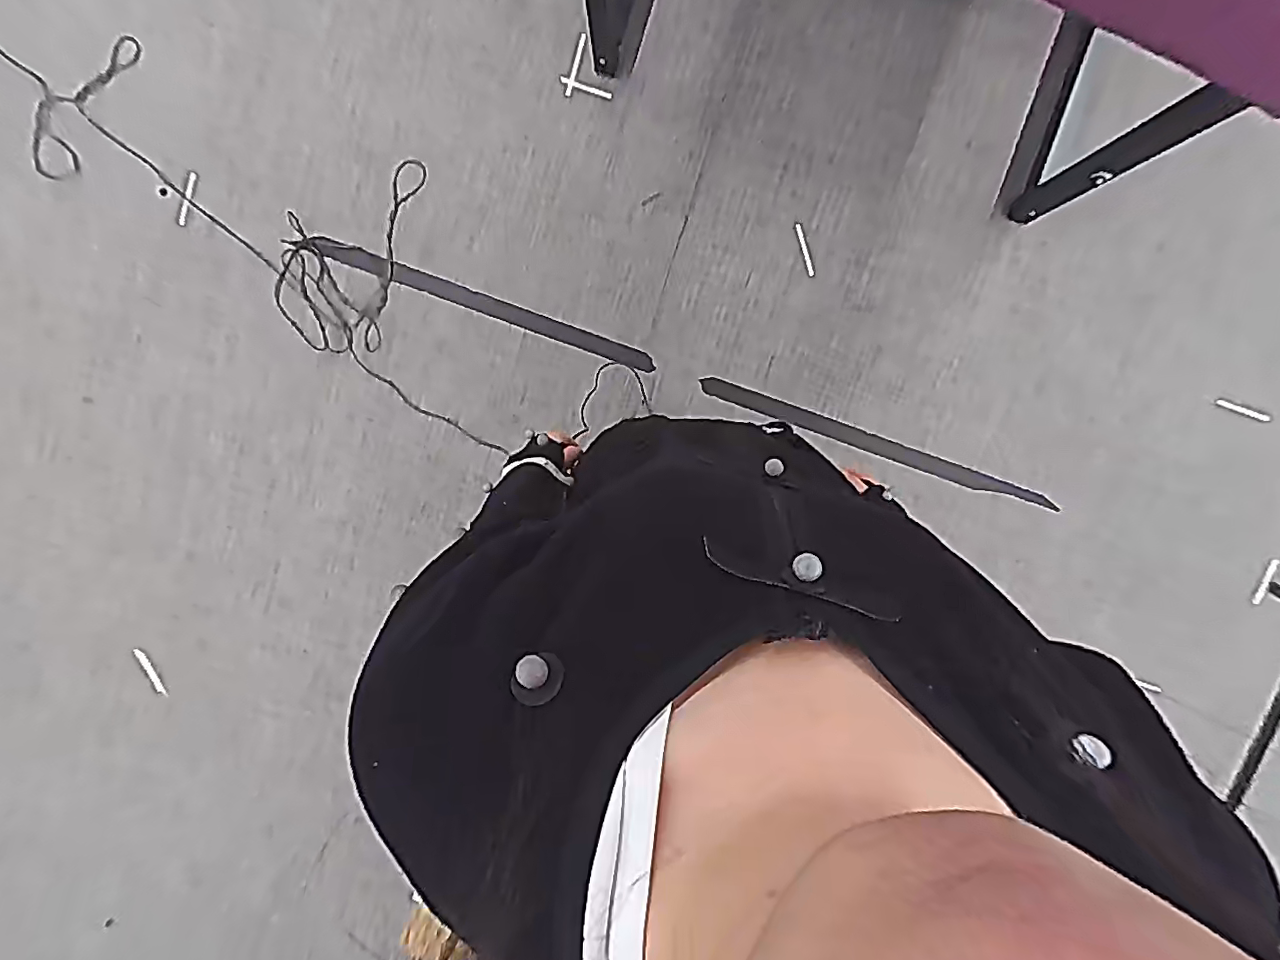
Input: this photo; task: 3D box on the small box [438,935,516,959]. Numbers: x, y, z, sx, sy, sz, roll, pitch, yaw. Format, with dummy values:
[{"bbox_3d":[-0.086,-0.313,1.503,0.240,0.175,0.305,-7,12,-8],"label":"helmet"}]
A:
[{"bbox_3d":[-0.352,1.065,1.073,0.168,0.176,0.179,16,97,-1],"label":"small box"}]
